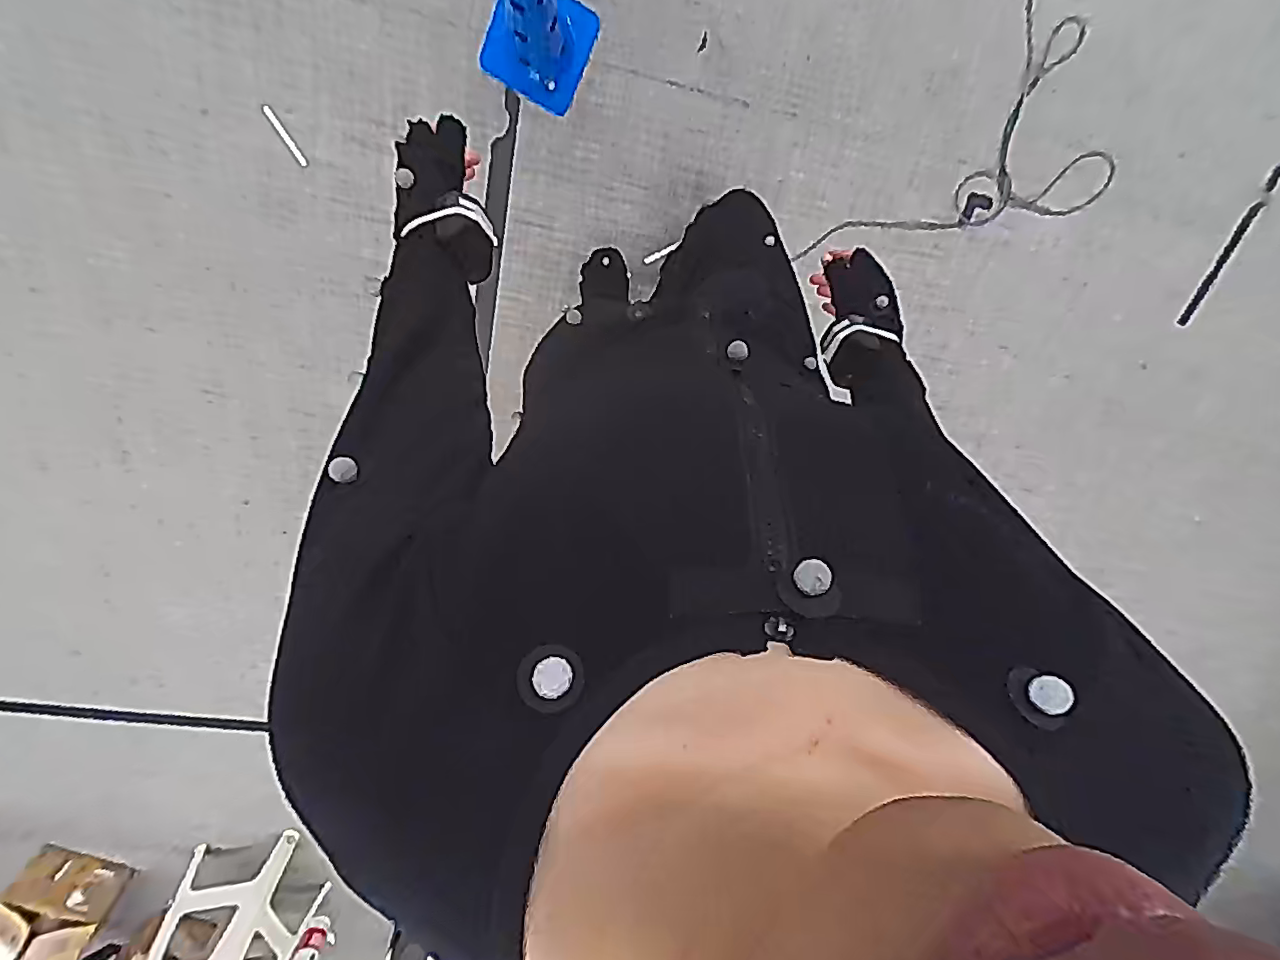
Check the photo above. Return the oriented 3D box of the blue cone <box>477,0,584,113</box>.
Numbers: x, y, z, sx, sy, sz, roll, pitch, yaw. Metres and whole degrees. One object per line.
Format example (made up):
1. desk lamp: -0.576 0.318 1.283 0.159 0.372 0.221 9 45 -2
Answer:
1. blue cone: -0.213 -0.828 0.967 0.192 0.380 0.193 25 109 -15
